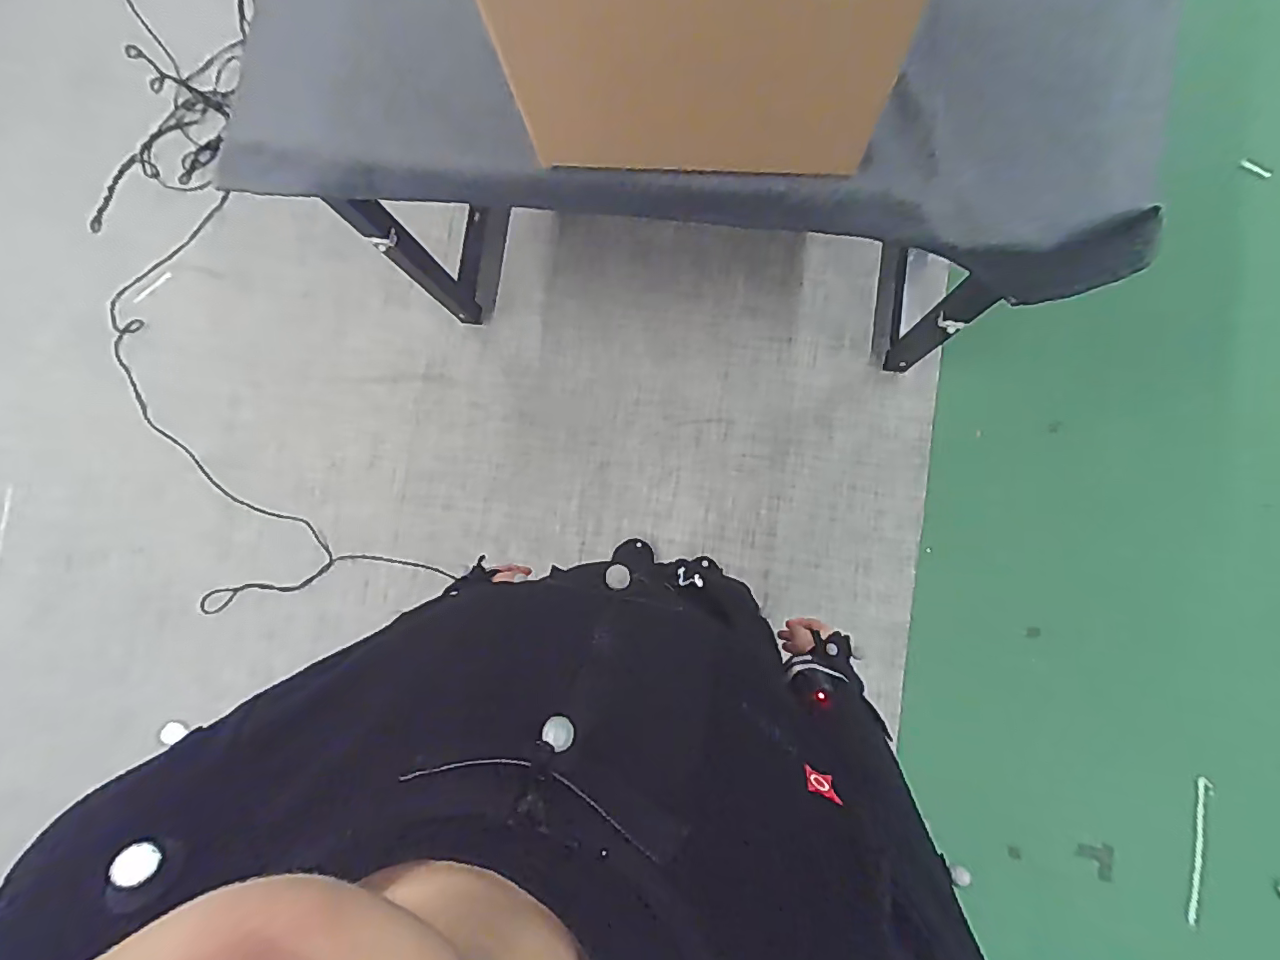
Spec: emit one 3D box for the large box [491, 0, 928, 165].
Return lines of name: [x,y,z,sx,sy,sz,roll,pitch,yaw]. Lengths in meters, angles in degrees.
large box: [0.070,-0.570,0.561,0.408,0.320,0.320,4,85,4]
